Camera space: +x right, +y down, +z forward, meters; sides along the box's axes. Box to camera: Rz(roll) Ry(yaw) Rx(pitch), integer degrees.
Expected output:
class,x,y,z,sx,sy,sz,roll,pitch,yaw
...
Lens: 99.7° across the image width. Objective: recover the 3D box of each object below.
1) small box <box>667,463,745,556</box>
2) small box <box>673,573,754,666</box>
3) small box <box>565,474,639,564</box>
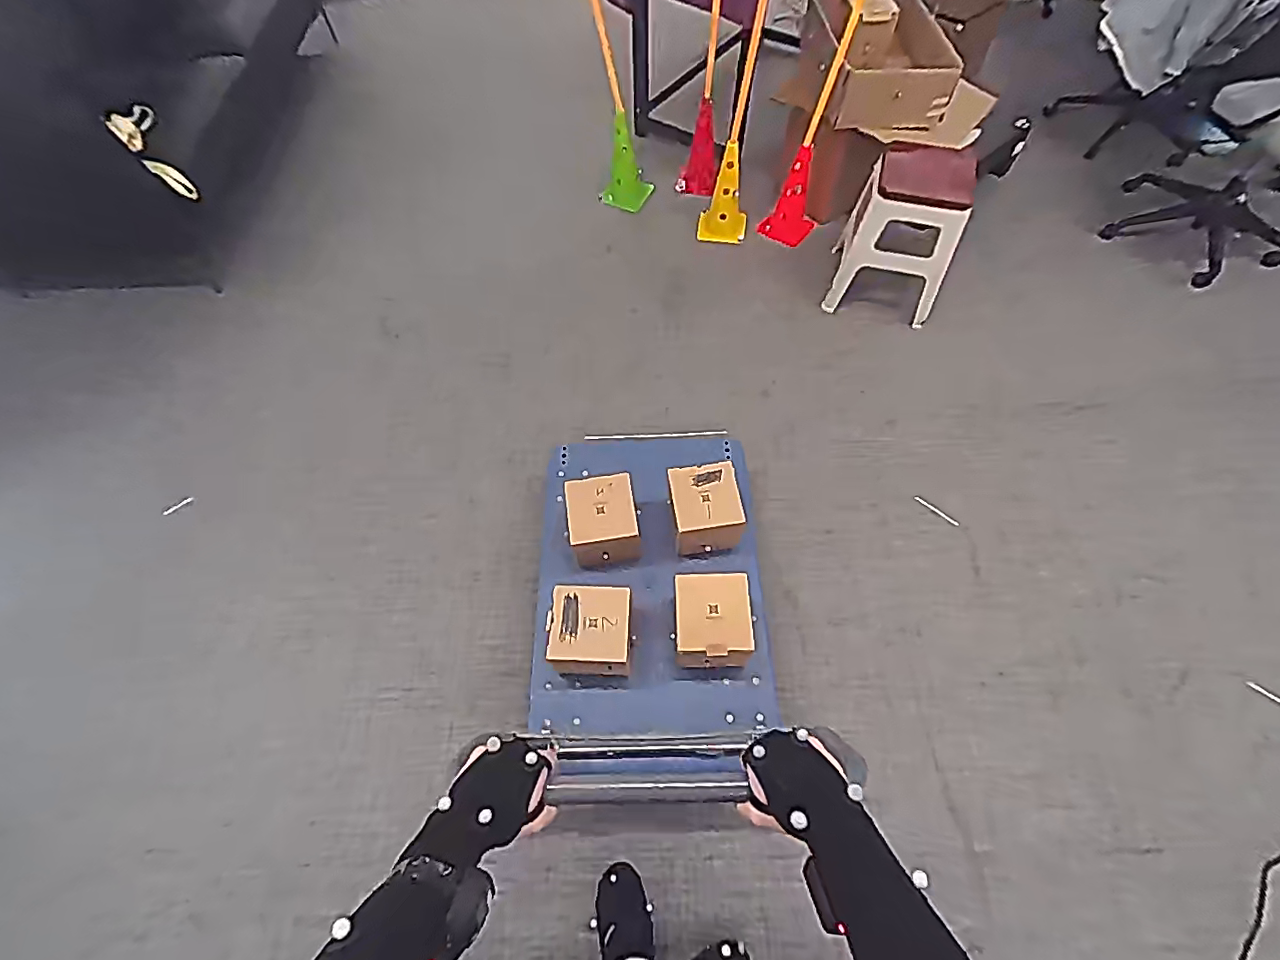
class,x,y,z,sx,sy,sz,roll,pitch,yaw
small box,0.163,0.078,1.400,0.168,0.176,0.179,-8,62,-2
small box,0.164,0.329,1.264,0.168,0.176,0.179,-1,62,1
small box,-0.095,0.108,1.391,0.168,0.176,0.179,-8,61,-3
